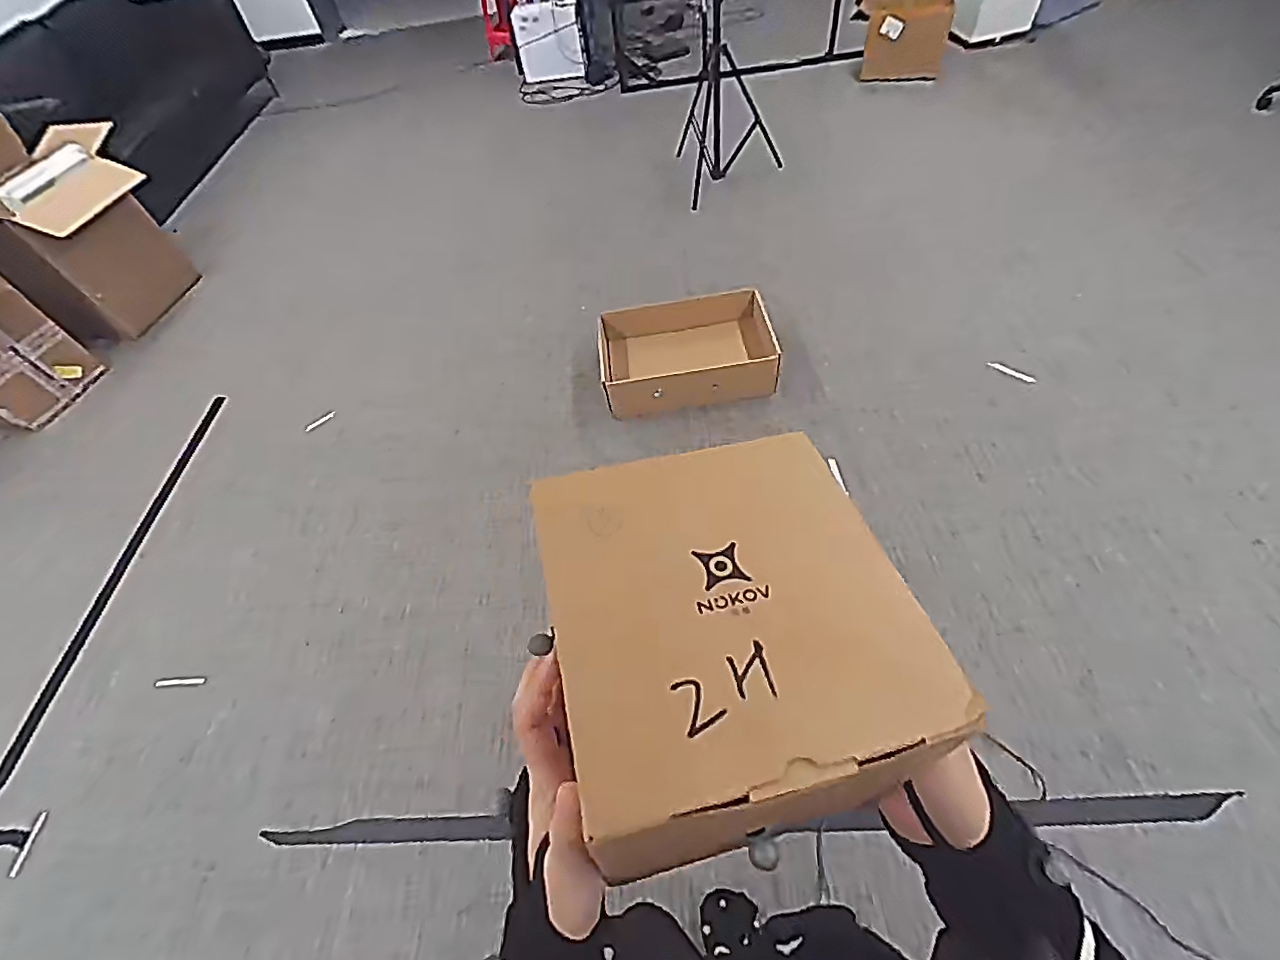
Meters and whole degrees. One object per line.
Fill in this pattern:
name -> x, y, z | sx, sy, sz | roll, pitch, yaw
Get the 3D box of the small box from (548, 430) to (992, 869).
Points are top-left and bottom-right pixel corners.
small box -> 0.044, 0.098, 0.320 | 0.168, 0.176, 0.179 | -11, 50, -9
